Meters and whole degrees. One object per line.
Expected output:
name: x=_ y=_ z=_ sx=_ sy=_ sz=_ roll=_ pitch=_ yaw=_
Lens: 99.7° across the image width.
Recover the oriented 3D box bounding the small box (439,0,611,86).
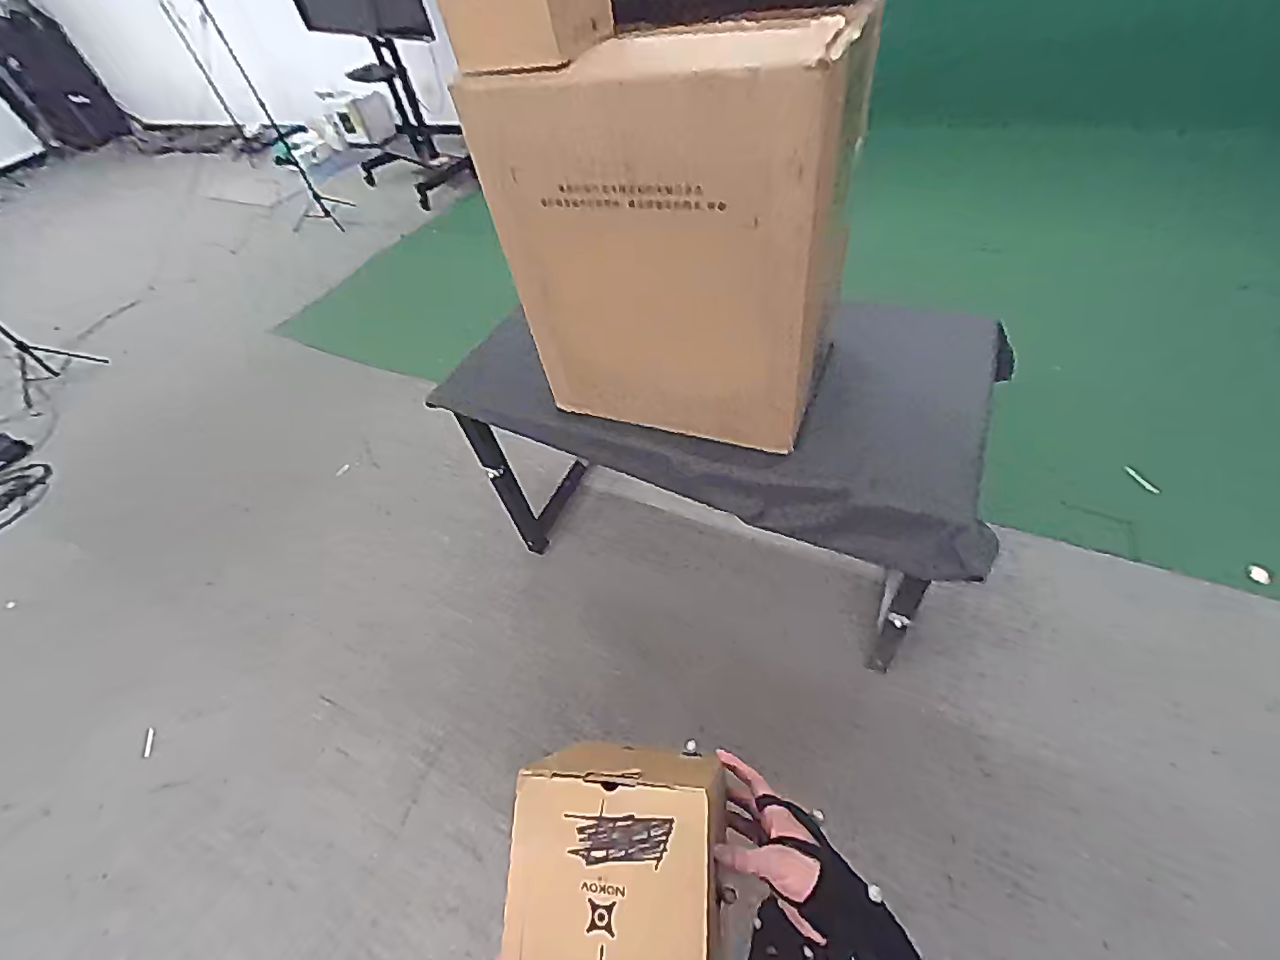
small box: x=-0.164 y=-0.664 z=0.739 sx=0.179 sy=0.176 sz=0.168 roll=12 pitch=54 yaw=23
